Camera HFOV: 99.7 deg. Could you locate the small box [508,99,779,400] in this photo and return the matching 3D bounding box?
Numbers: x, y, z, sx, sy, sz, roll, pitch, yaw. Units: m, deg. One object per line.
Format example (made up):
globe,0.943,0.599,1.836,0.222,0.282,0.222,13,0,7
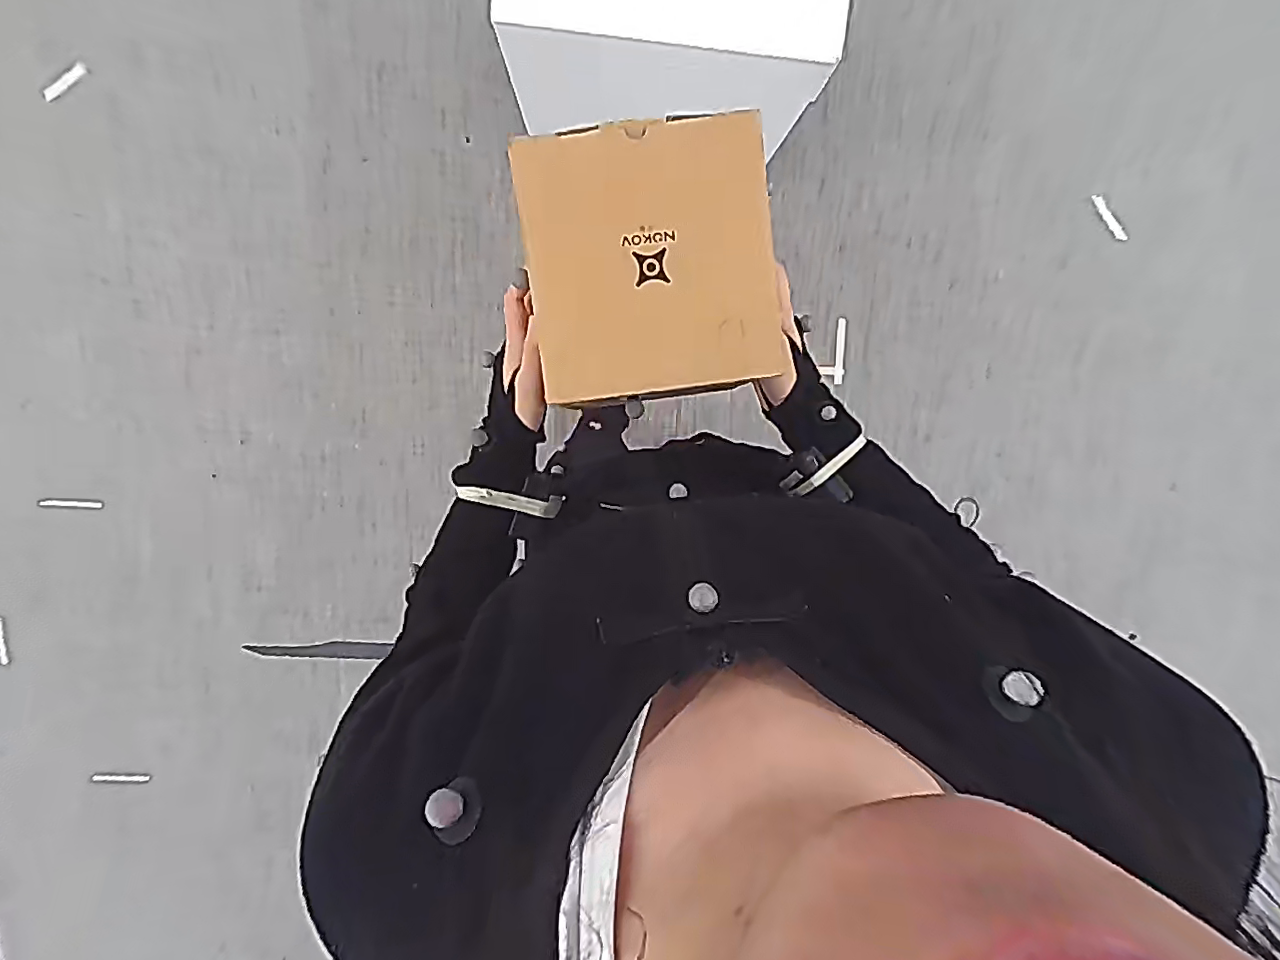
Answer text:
small box,0.004,-0.159,0.437,0.168,0.176,0.179,-8,96,-1
